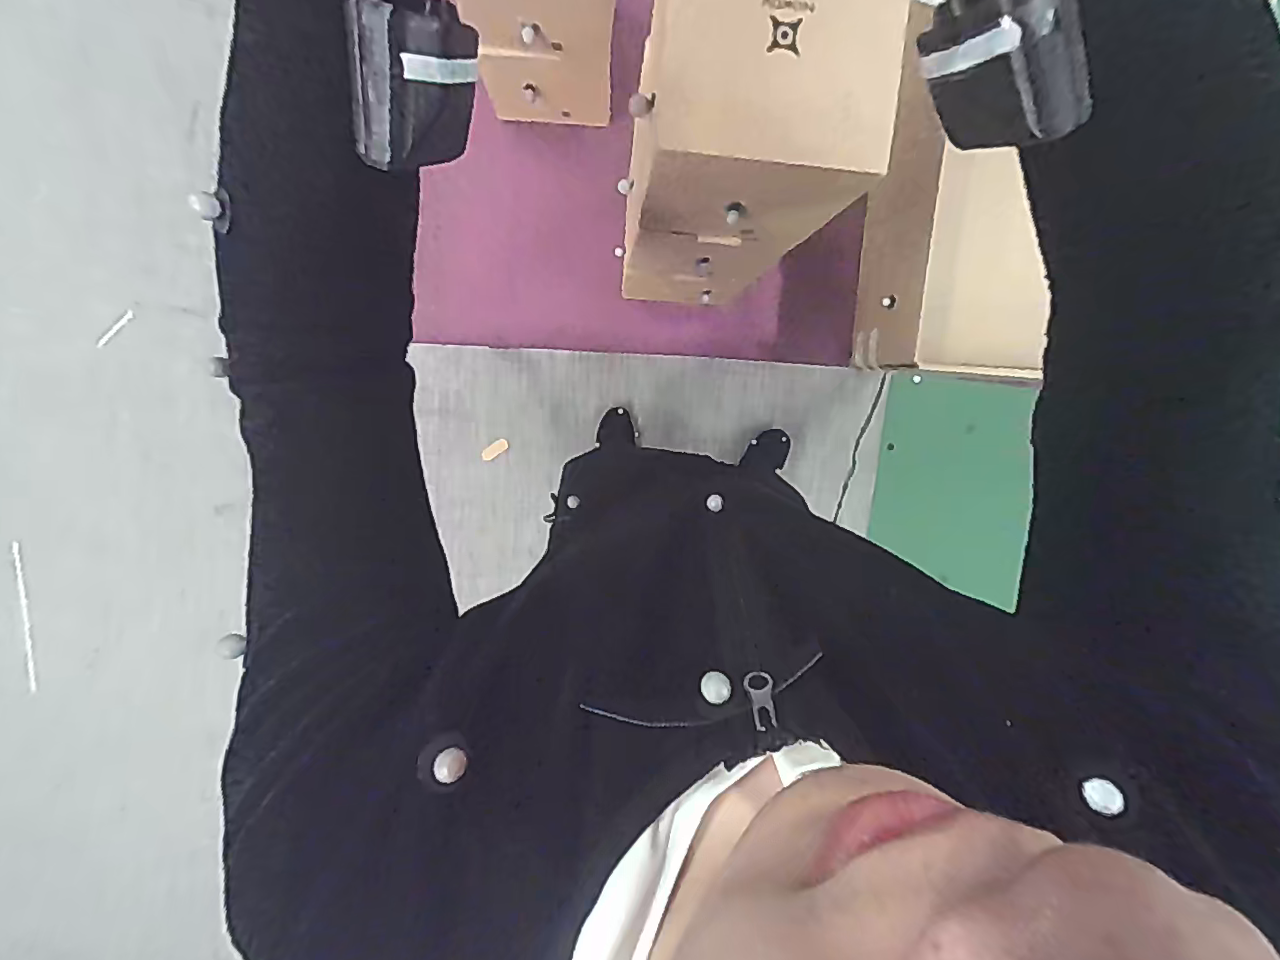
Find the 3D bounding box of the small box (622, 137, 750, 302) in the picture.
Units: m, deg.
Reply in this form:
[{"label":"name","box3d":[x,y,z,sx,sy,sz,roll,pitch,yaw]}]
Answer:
[{"label":"small box","box3d":[0.063,-0.357,0.762,0.168,0.176,0.179,3,97,-5]}]

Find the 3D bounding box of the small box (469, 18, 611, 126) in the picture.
[{"label":"small box","box3d":[-0.123,-0.602,0.715,0.168,0.176,0.179,1,98,-4]}]

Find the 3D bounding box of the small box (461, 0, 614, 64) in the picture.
[{"label":"small box","box3d":[-0.106,-0.580,0.553,0.168,0.176,0.179,5,99,-4]}]

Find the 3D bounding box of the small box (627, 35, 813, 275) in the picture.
[{"label":"small box","box3d":[0.074,-0.338,0.601,0.168,0.176,0.179,2,98,-5]}]
